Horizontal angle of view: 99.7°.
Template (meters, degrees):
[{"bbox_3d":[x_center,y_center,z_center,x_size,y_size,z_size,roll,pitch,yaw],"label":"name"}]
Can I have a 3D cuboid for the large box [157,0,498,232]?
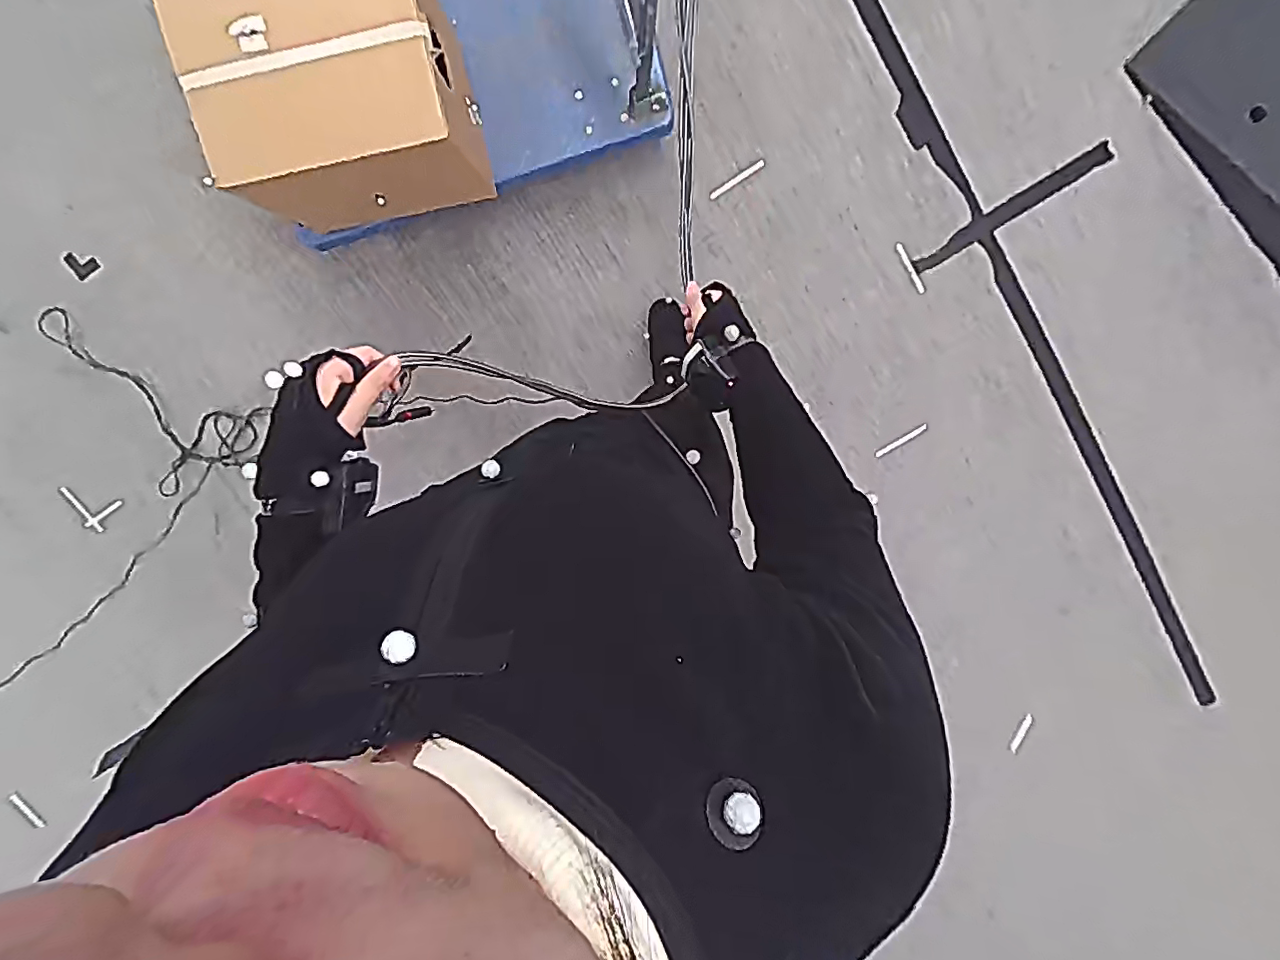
[{"bbox_3d":[-0.528,-0.694,1.002,0.408,0.320,0.320,-11,101,3],"label":"large box"}]
